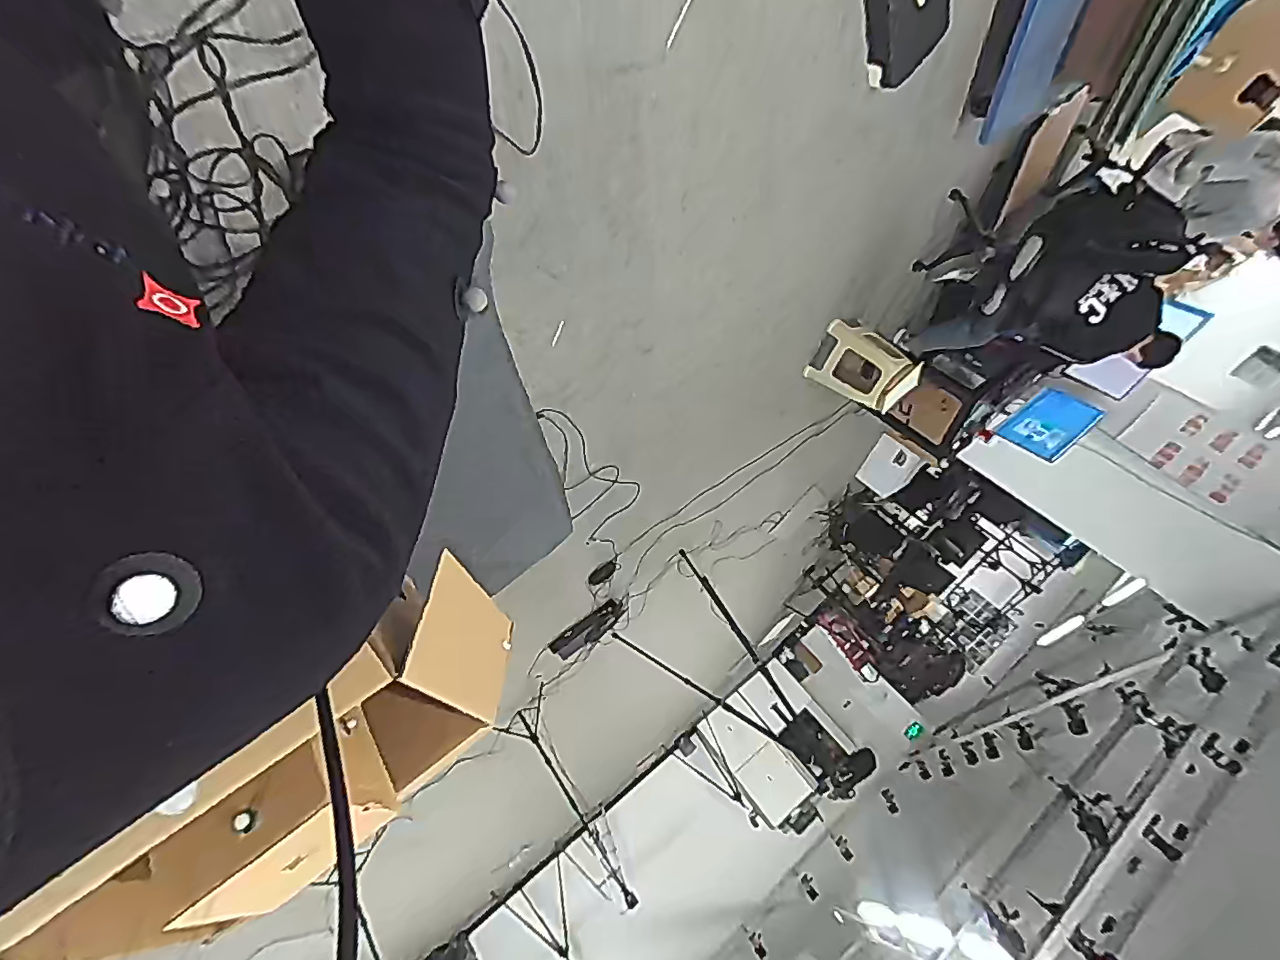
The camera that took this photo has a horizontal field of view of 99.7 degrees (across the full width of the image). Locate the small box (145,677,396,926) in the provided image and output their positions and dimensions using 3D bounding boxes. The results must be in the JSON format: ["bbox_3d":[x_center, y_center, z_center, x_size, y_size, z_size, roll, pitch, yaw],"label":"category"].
[{"bbox_3d":[-0.434,0.371,0.641,0.179,0.176,0.168,-35,150,-17],"label":"small box"}]
